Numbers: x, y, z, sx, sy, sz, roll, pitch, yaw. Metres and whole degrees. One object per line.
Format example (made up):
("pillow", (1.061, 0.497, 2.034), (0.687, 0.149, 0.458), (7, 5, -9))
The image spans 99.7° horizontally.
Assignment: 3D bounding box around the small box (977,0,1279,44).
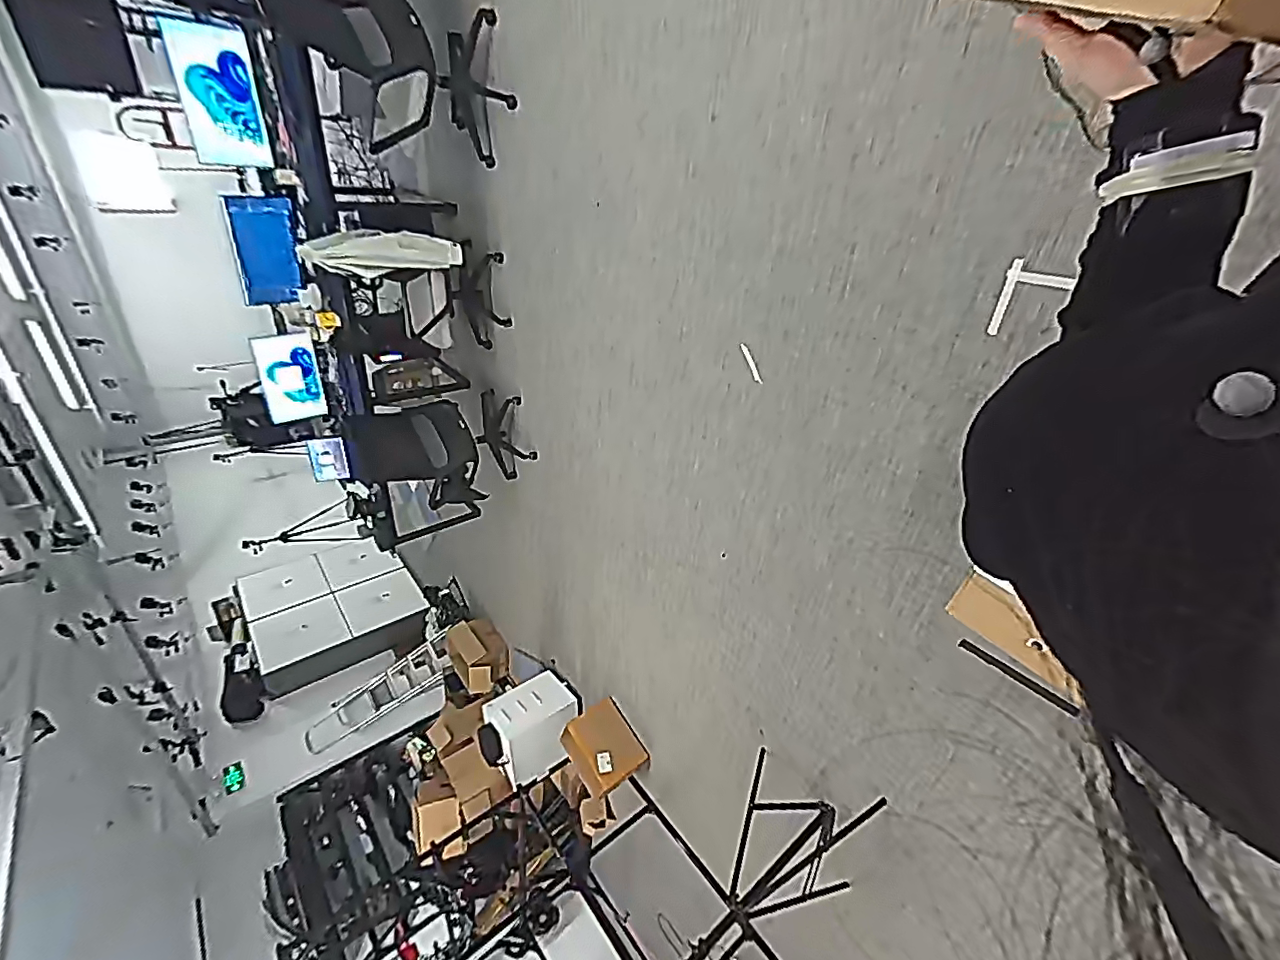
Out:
("small box", (0.267, -0.320, 0.249), (0.179, 0.176, 0.168), (51, 147, 35))
